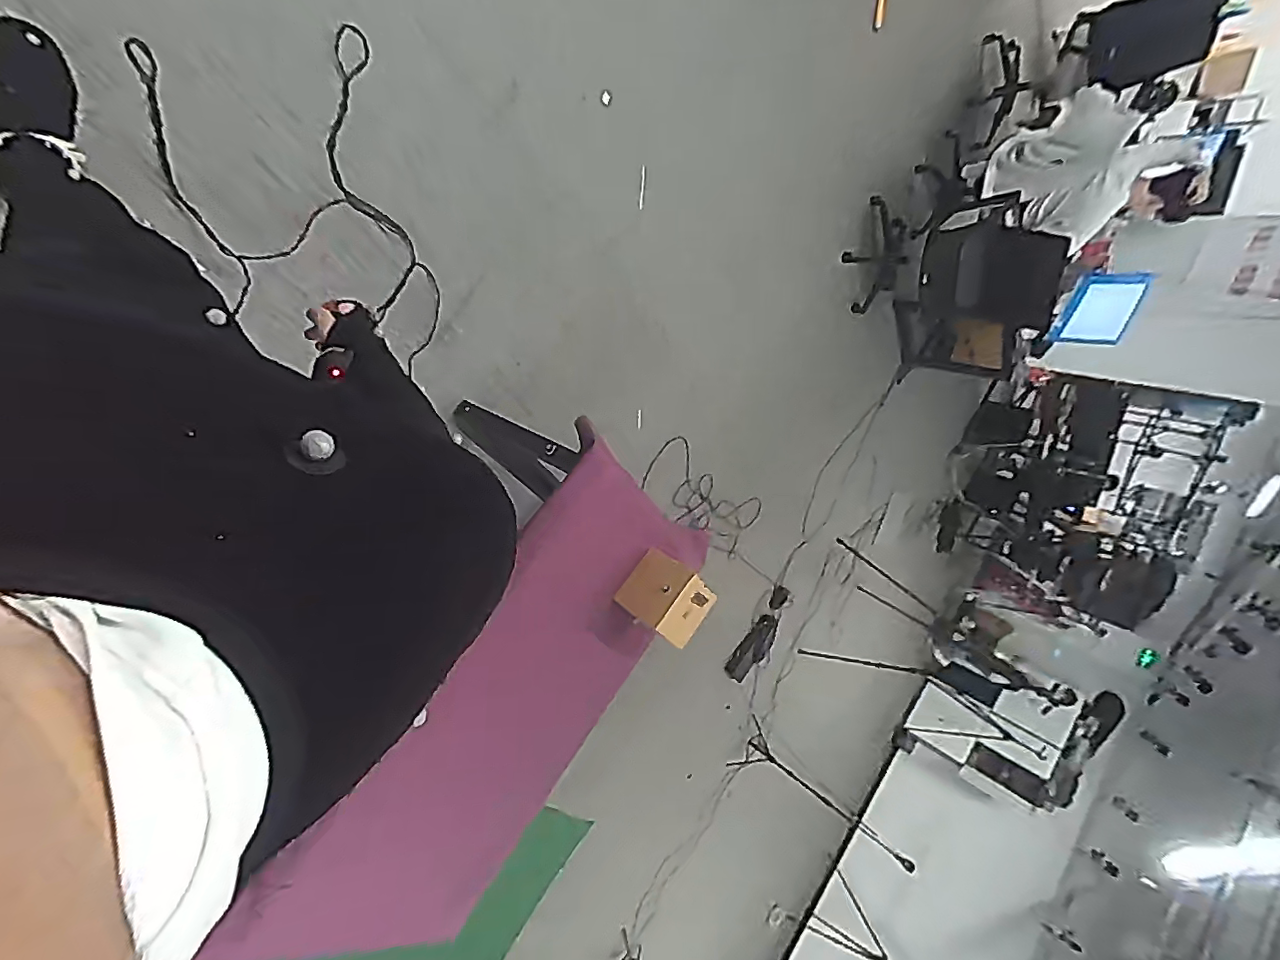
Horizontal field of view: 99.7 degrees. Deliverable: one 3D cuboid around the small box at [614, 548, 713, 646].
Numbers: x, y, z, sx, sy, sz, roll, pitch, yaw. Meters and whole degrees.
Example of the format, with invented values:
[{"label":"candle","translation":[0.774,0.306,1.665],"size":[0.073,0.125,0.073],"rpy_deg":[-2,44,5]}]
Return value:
[{"label":"small box","translation":[0.062,0.312,1.466],"size":[0.179,0.176,0.168],"rpy_deg":[-52,137,-12]}]
